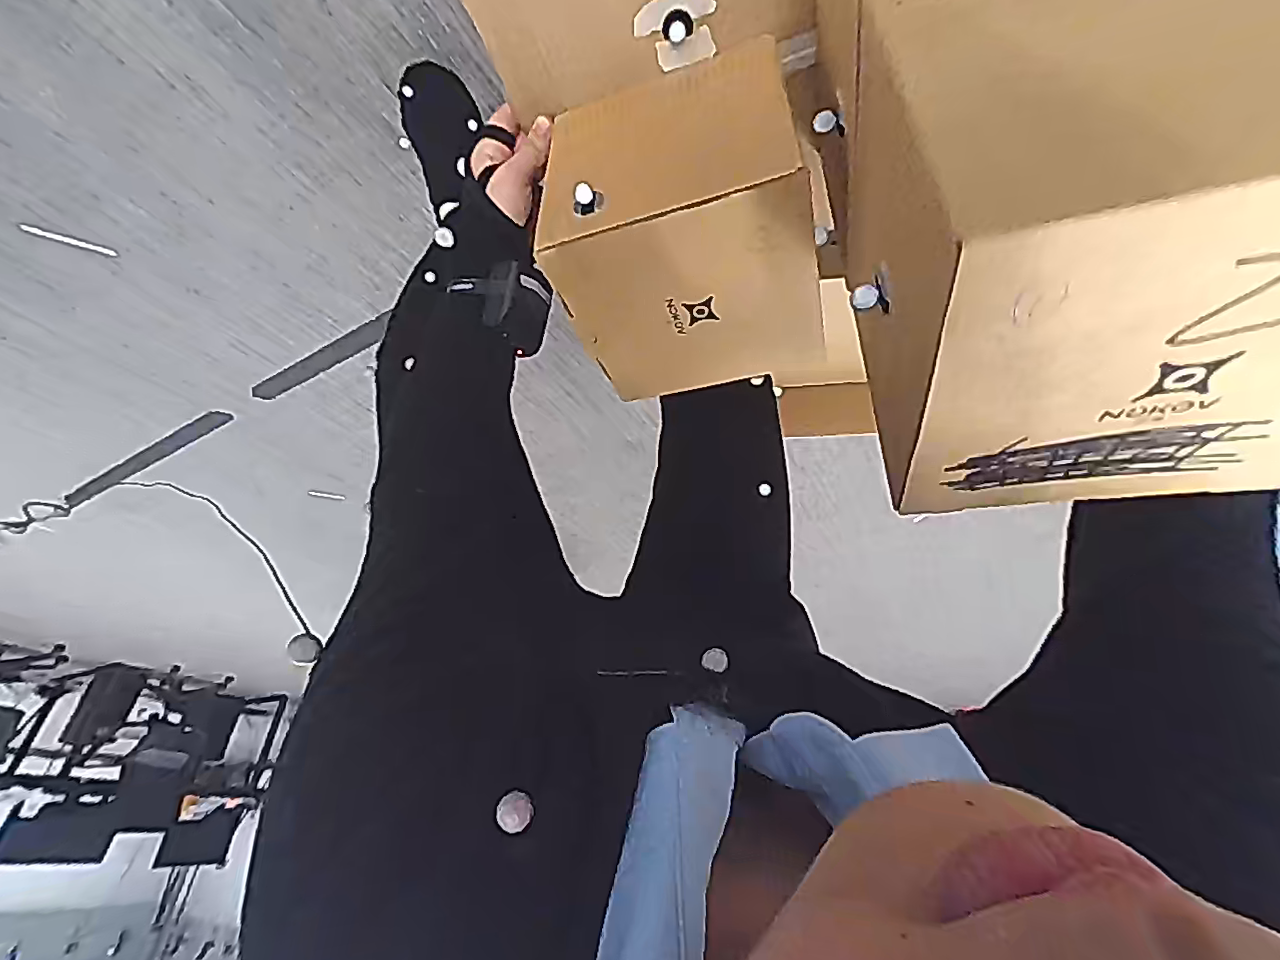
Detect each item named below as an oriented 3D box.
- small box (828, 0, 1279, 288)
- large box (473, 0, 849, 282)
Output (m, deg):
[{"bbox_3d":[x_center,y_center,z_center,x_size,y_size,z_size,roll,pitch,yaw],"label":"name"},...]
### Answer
[{"bbox_3d":[0.201,-0.246,0.303,0.168,0.176,0.179,-6,149,16],"label":"small box"},{"bbox_3d":[0.113,-0.440,0.466,0.408,0.320,0.320,-8,147,19],"label":"large box"}]
